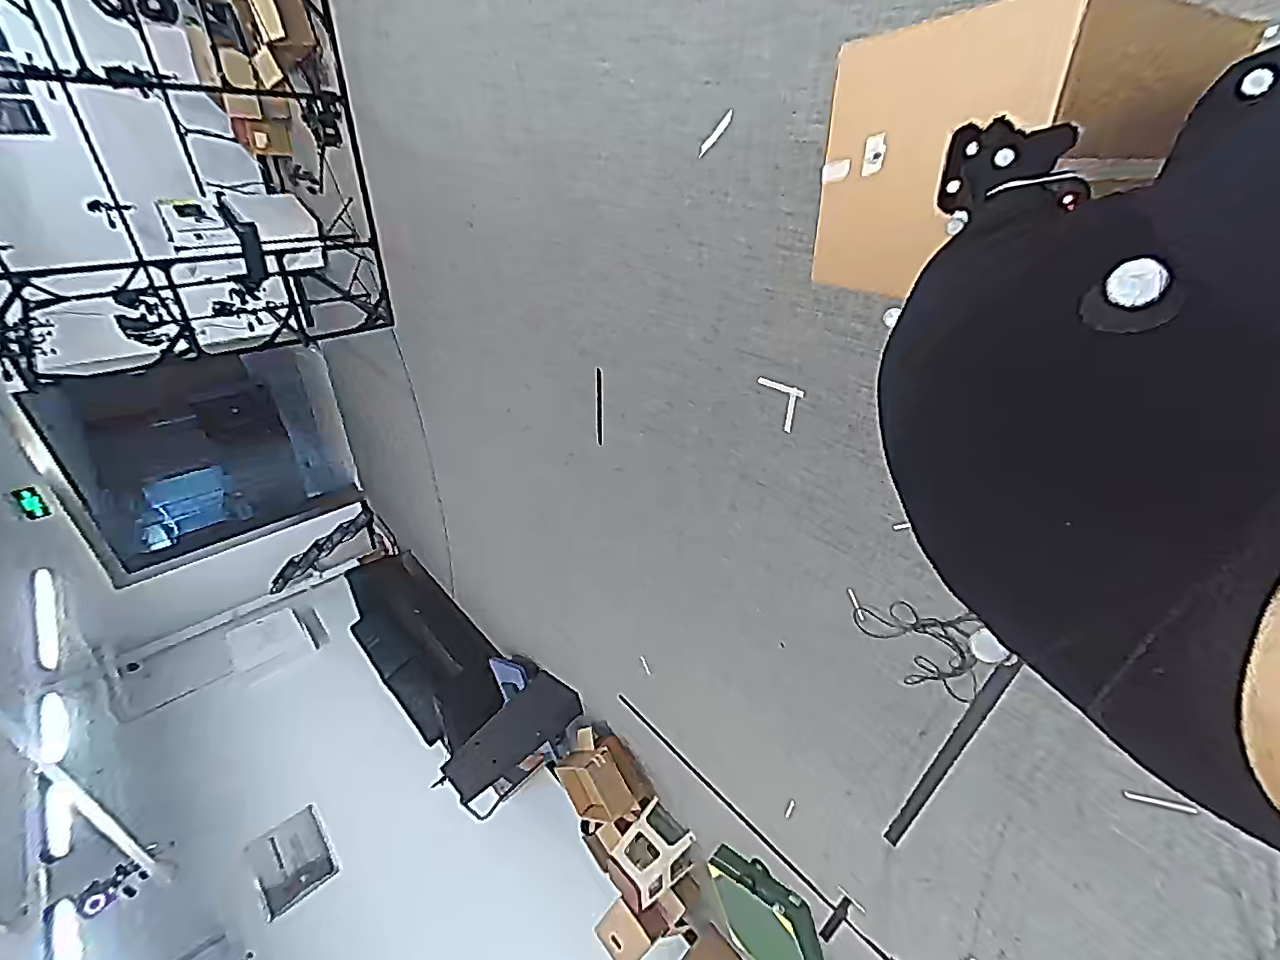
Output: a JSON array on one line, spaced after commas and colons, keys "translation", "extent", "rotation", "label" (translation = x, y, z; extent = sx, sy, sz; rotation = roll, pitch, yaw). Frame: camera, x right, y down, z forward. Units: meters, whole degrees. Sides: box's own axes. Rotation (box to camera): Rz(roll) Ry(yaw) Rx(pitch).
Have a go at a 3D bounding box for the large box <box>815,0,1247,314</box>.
[{"translation": [0.523, -0.455, 0.789], "extent": [0.320, 0.408, 0.320], "rotation": [43, 141, 48], "label": "large box"}]
